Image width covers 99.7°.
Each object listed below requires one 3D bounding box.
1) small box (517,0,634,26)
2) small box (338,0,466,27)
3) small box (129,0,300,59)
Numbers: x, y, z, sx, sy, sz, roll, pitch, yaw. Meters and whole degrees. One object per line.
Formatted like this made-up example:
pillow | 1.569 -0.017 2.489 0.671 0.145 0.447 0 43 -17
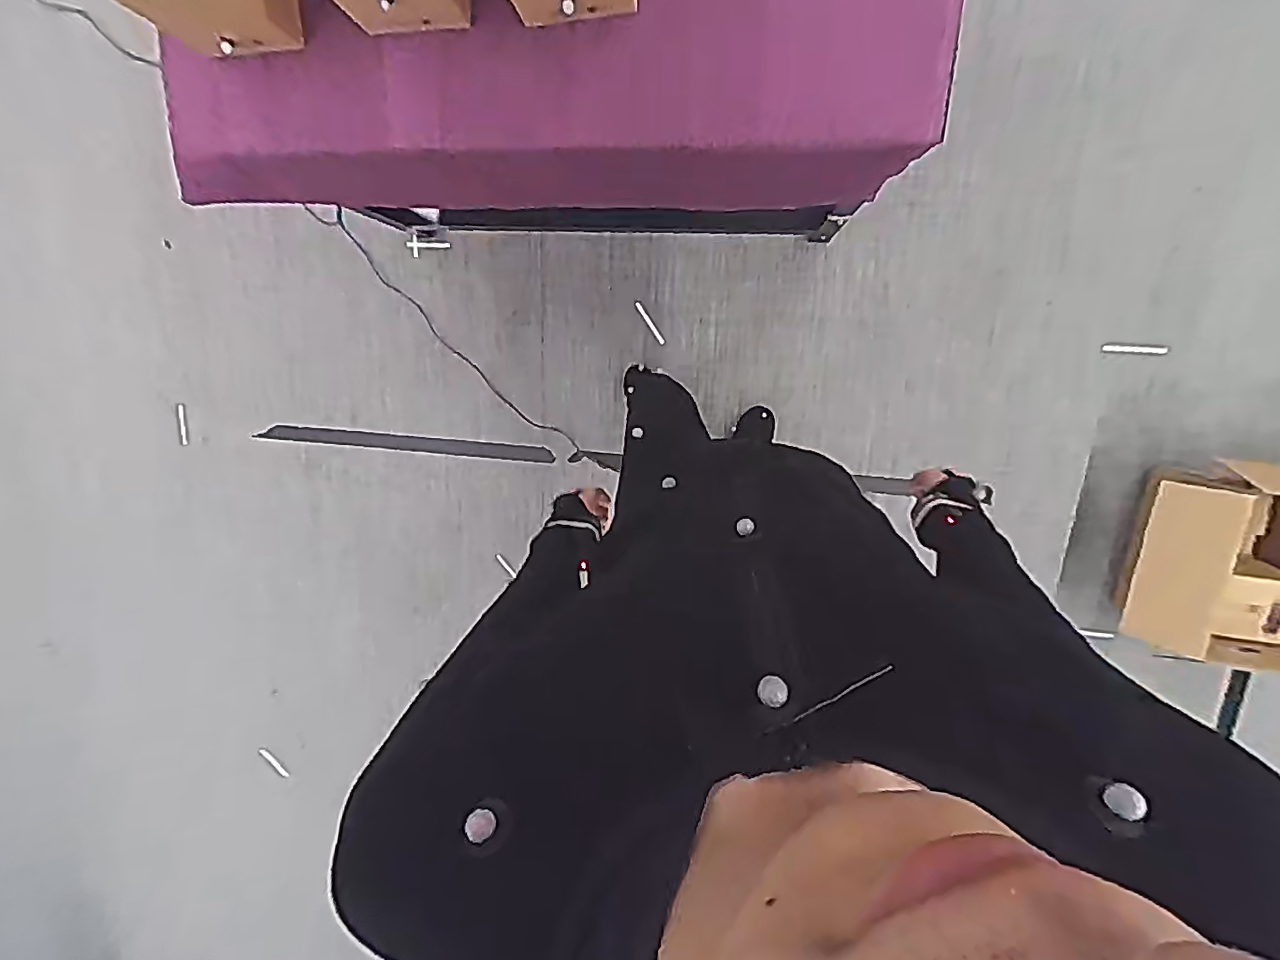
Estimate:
small box | -0.102 -0.729 0.682 0.168 0.176 0.179 -1 103 8
small box | -0.341 -0.738 0.713 0.168 0.176 0.179 2 102 7
small box | -0.613 -0.735 0.752 0.168 0.176 0.179 0 102 8
